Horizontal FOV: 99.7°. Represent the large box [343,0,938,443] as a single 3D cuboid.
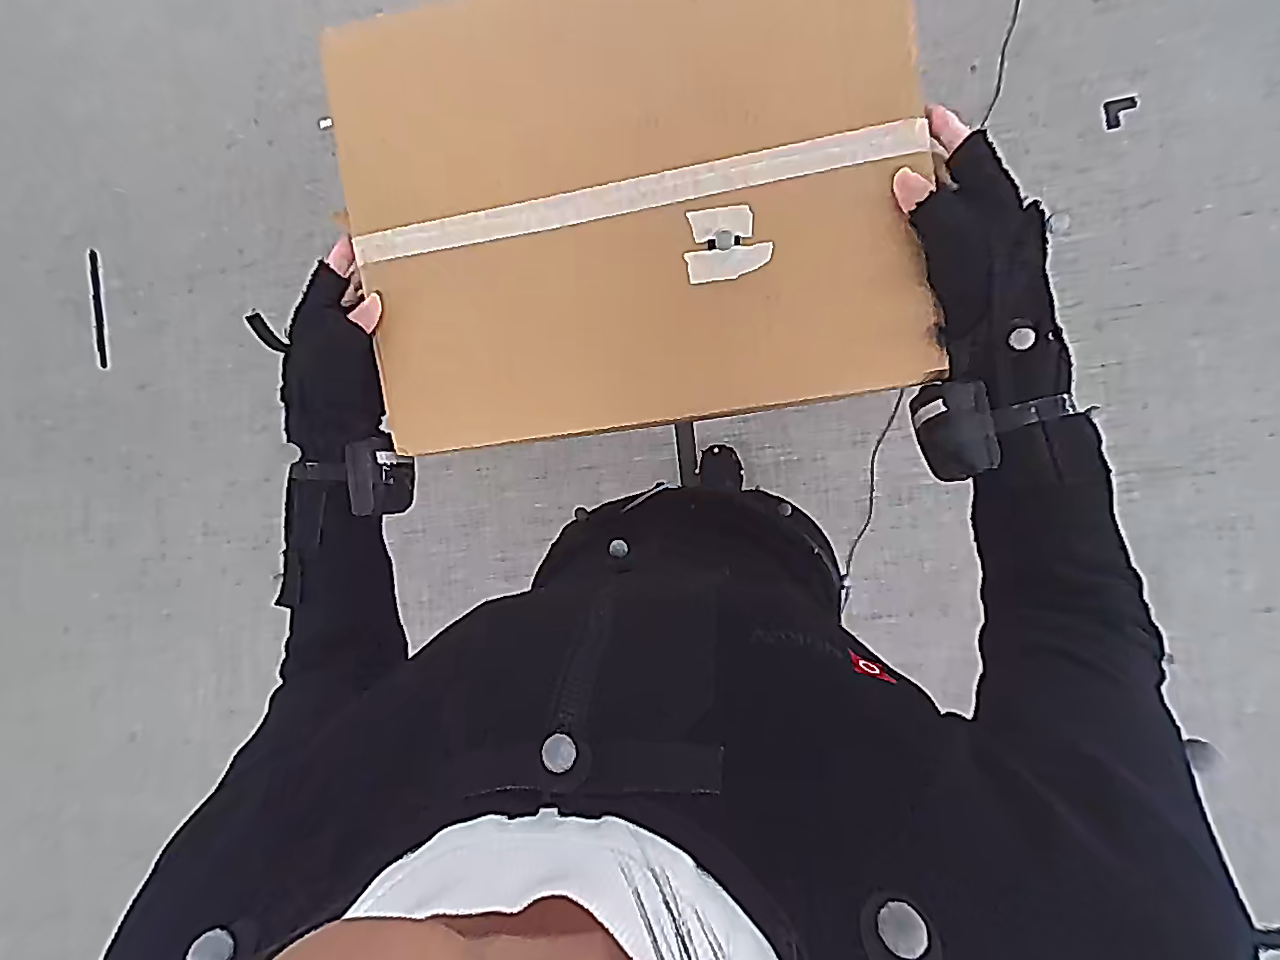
[{"bbox_3d":[0.008,-0.223,0.538,0.408,0.320,0.320,-8,96,7],"label":"large box"}]
